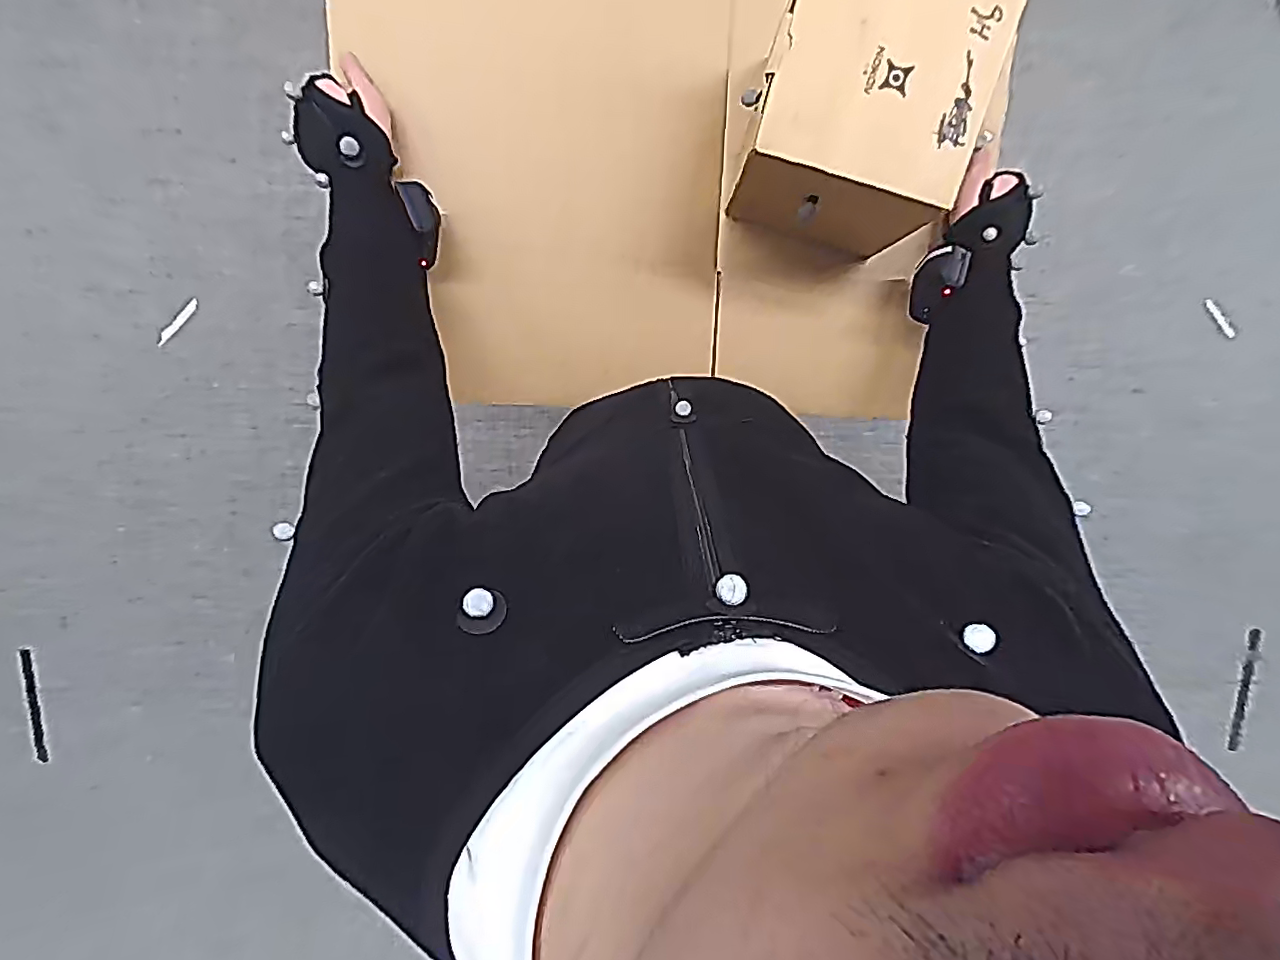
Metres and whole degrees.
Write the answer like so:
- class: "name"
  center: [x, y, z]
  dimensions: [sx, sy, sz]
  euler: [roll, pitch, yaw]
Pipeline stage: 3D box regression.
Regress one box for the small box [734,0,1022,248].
- class: "small box"
  center: [0.200, -0.342, 0.516]
  dimensions: [0.179, 0.176, 0.168]
  euler: [16, 99, -1]
